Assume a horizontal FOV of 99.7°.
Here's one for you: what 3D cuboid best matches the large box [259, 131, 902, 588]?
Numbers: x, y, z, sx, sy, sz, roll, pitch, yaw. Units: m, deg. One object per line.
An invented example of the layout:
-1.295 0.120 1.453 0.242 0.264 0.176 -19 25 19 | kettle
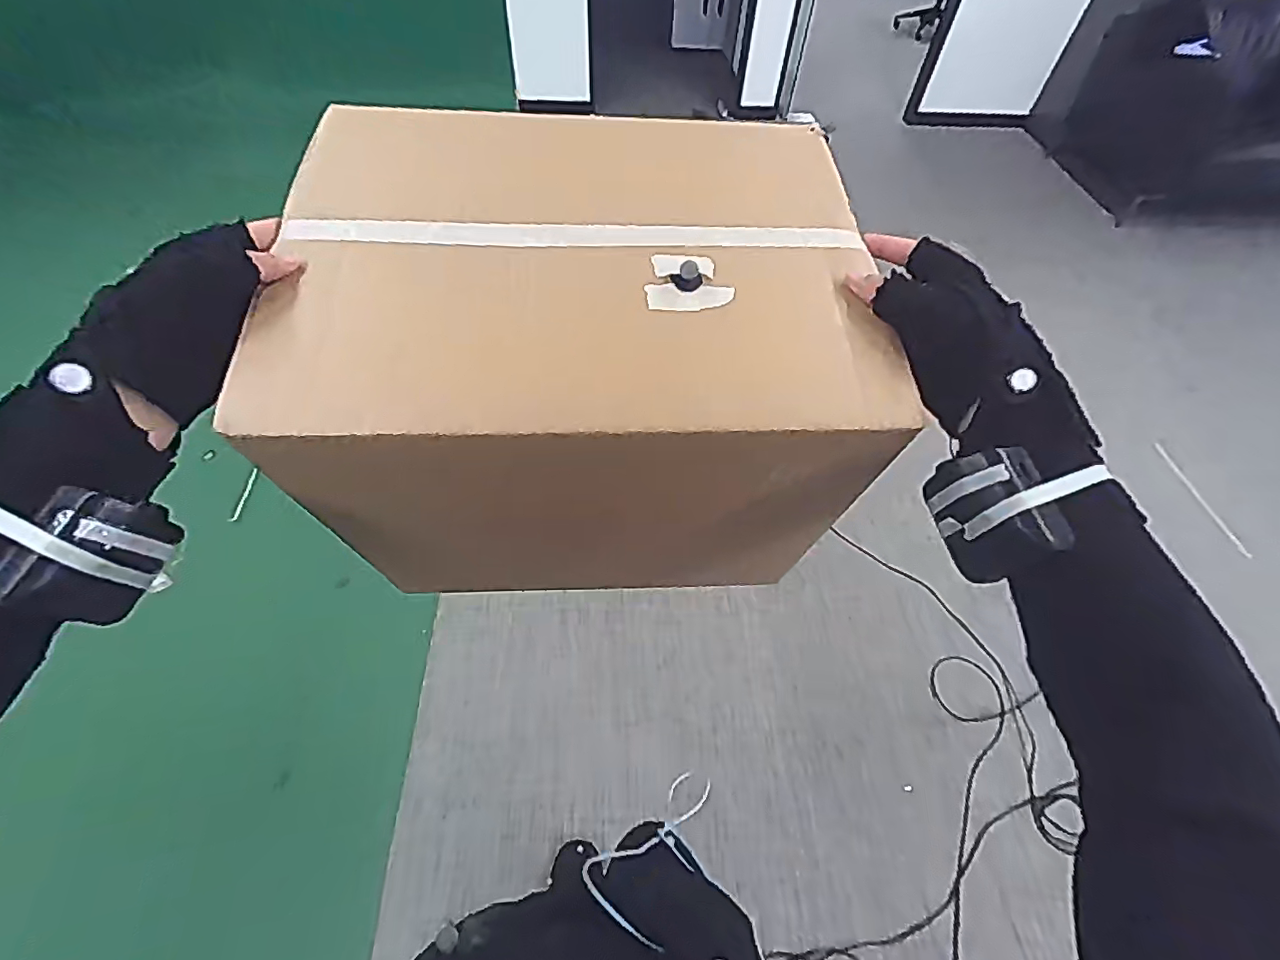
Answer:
-0.047 -0.093 0.531 0.408 0.320 0.320 0 62 -5 | large box
